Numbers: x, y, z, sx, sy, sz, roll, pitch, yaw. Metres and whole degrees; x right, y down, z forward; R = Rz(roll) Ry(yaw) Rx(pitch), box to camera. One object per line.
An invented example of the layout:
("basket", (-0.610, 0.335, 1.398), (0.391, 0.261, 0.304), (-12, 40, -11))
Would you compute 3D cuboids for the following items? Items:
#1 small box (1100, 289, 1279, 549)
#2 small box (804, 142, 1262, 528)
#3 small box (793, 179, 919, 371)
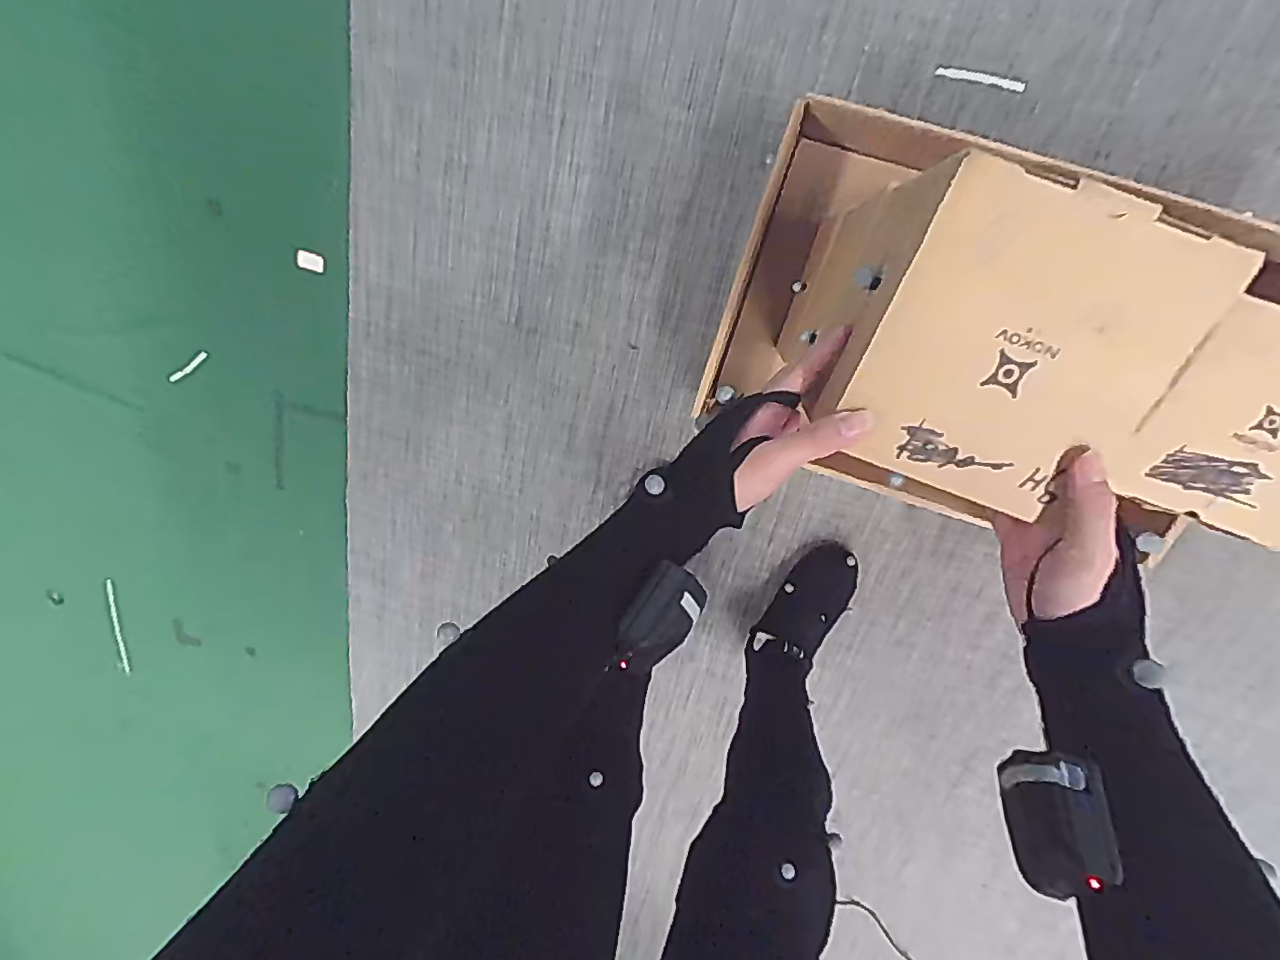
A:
("small box", (0.525, -0.069, 0.516), (0.168, 0.176, 0.179), (21, 112, 4))
("small box", (0.232, -0.100, 0.386), (0.168, 0.176, 0.179), (21, 112, 1))
("small box", (0.263, -0.166, 0.533), (0.168, 0.176, 0.179), (19, 112, 2))
